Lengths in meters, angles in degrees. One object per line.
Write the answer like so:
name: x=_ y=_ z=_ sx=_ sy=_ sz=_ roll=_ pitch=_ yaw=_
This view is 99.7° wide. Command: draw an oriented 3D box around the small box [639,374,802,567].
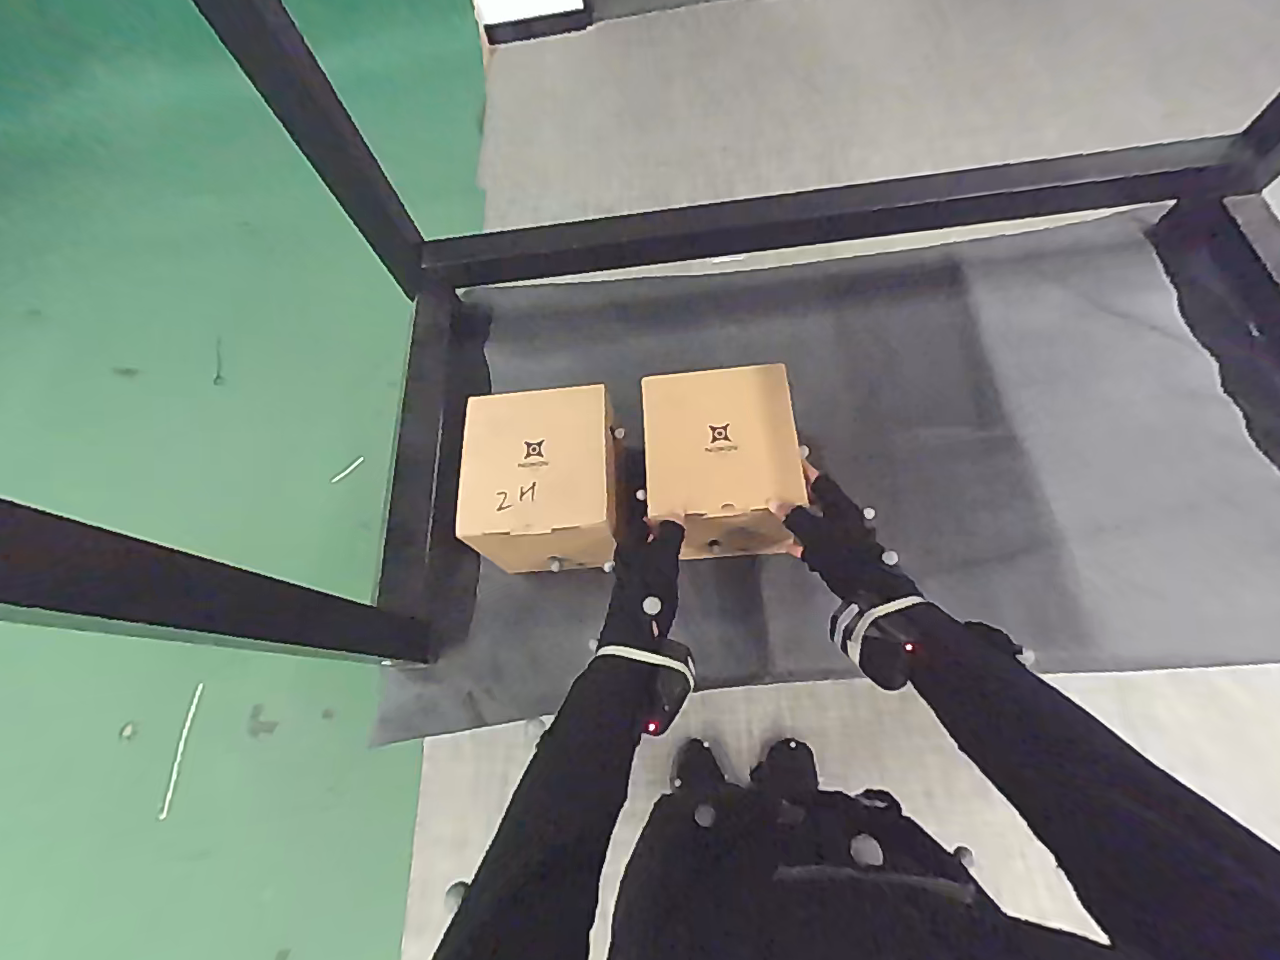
small box: x=0.090 y=-0.004 z=0.661 sx=0.168 sy=0.176 sz=0.179 roll=-5 pitch=66 yaw=5

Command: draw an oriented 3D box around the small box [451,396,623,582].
small box: x=-0.114 y=0.018 z=0.674 sx=0.168 sy=0.176 sz=0.179 roll=-4 pitch=65 yaw=5
